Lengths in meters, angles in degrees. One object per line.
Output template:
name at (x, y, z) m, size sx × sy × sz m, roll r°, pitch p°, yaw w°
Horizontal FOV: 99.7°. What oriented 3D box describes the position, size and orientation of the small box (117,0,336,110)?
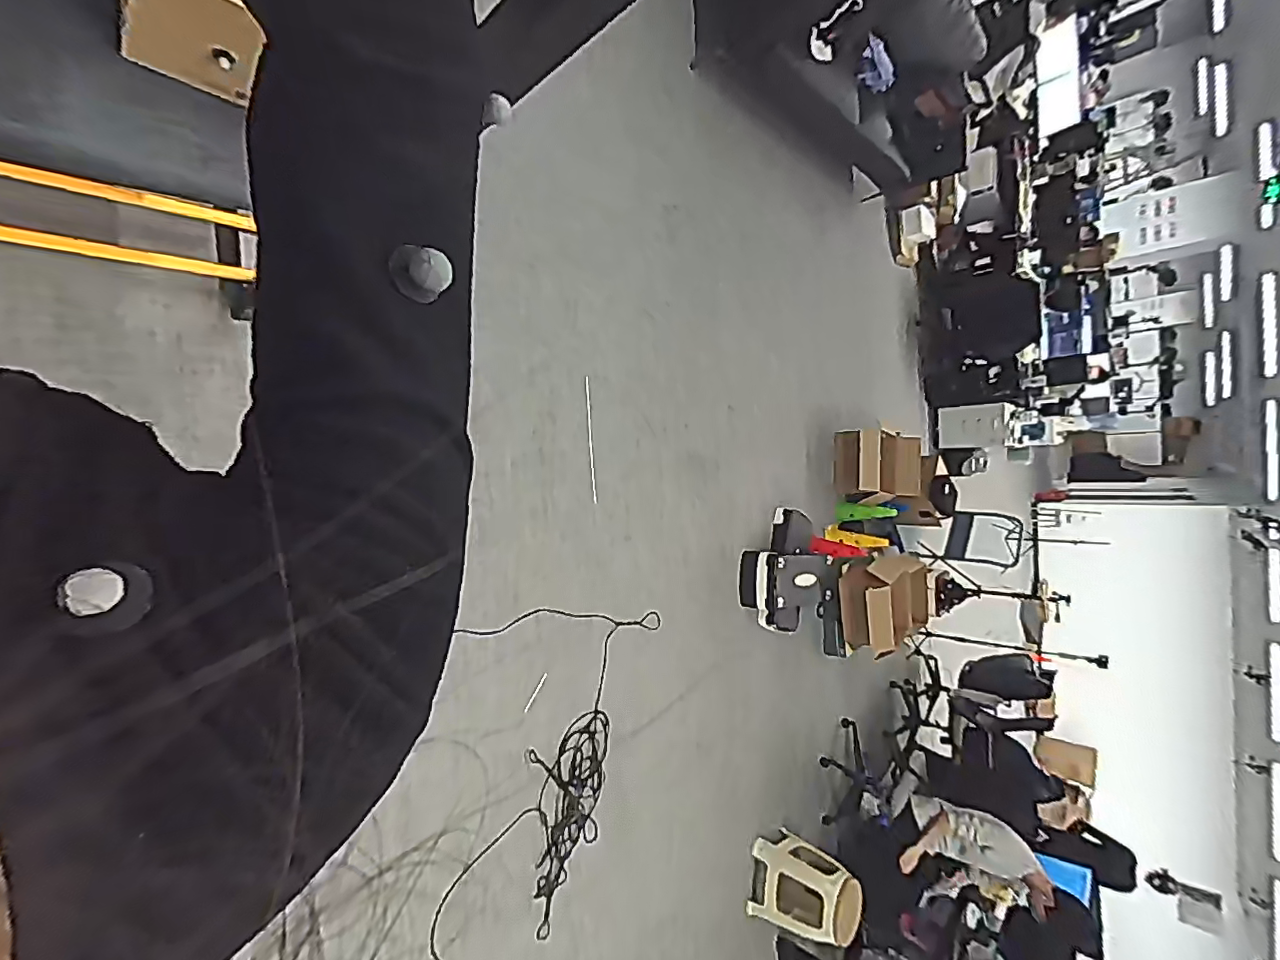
small box at (-0.447, -0.554, 0.587) m, size 0.168 × 0.176 × 0.179 m, roll -1°, pitch 89°, yaw -48°
